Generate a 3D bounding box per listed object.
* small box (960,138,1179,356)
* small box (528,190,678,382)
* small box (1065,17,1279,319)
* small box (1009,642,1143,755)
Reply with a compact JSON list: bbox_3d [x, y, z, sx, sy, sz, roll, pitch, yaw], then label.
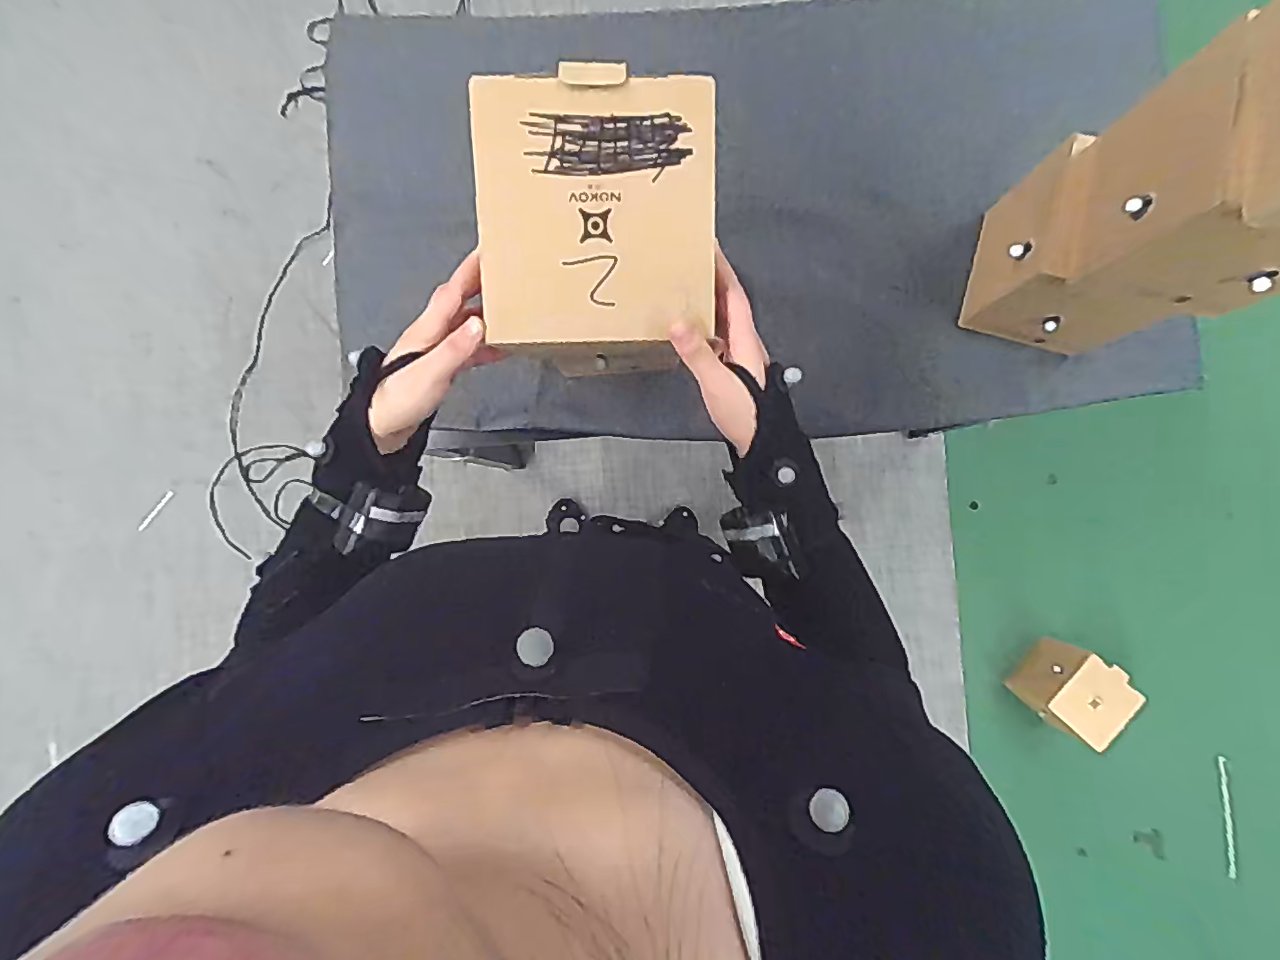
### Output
[{"bbox_3d":[0.538,-0.274,0.678,0.168,0.176,0.179,16,86,2],"label":"small box"},{"bbox_3d":[-0.042,-0.237,0.694,0.168,0.176,0.179,-4,86,1],"label":"small box"},{"bbox_3d":[0.554,-0.274,0.515,0.168,0.176,0.179,11,85,1],"label":"small box"},{"bbox_3d":[1.085,0.543,1.369,0.168,0.176,0.179,42,89,3],"label":"small box"}]
